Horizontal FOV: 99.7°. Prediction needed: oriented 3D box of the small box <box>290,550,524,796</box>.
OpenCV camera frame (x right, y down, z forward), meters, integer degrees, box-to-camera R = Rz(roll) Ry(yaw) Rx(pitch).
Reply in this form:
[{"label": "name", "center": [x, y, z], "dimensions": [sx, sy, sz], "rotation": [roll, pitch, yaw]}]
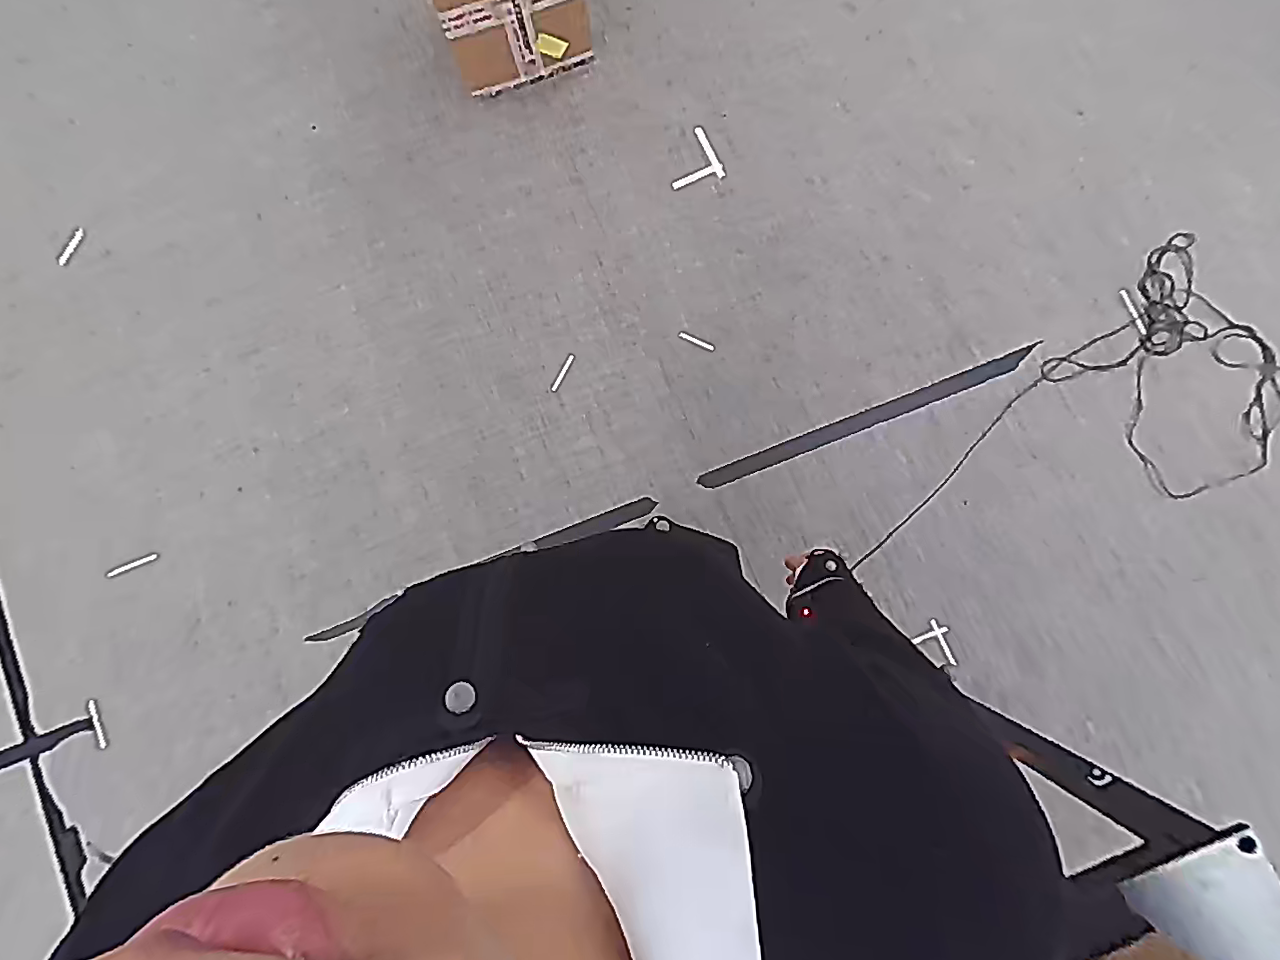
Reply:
[{"label": "small box", "center": [-0.246, 0.219, 0.611], "dimensions": [0.179, 0.176, 0.168], "rotation": [-31, 62, -29]}]
